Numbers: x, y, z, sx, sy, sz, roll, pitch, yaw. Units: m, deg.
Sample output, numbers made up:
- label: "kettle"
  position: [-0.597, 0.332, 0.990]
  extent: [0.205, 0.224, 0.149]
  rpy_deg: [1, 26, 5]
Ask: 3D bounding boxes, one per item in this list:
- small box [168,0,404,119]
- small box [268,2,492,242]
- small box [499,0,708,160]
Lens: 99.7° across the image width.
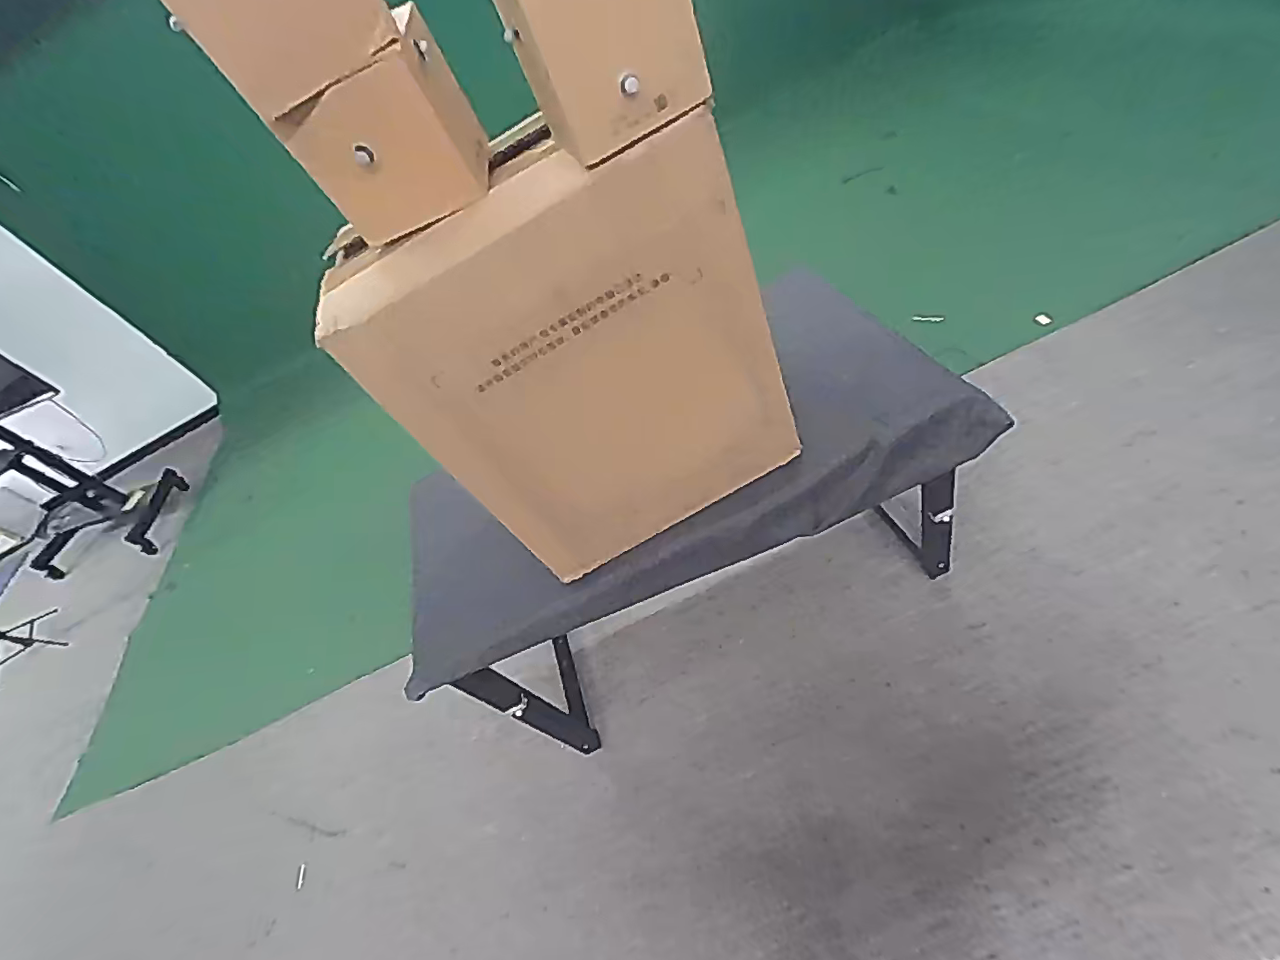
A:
- label: "small box"
  position: [-0.378, -0.513, 0.553]
  extent: [0.179, 0.176, 0.168]
  rpy_deg: [-32, 54, -1]
- label: "small box"
  position: [-0.310, -0.438, 0.680]
  extent: [0.179, 0.176, 0.168]
  rpy_deg: [-18, 56, 12]
- label: "small box"
  position: [-0.044, -0.494, 0.609]
  extent: [0.168, 0.176, 0.179]
  rpy_deg: [-29, 47, 2]
